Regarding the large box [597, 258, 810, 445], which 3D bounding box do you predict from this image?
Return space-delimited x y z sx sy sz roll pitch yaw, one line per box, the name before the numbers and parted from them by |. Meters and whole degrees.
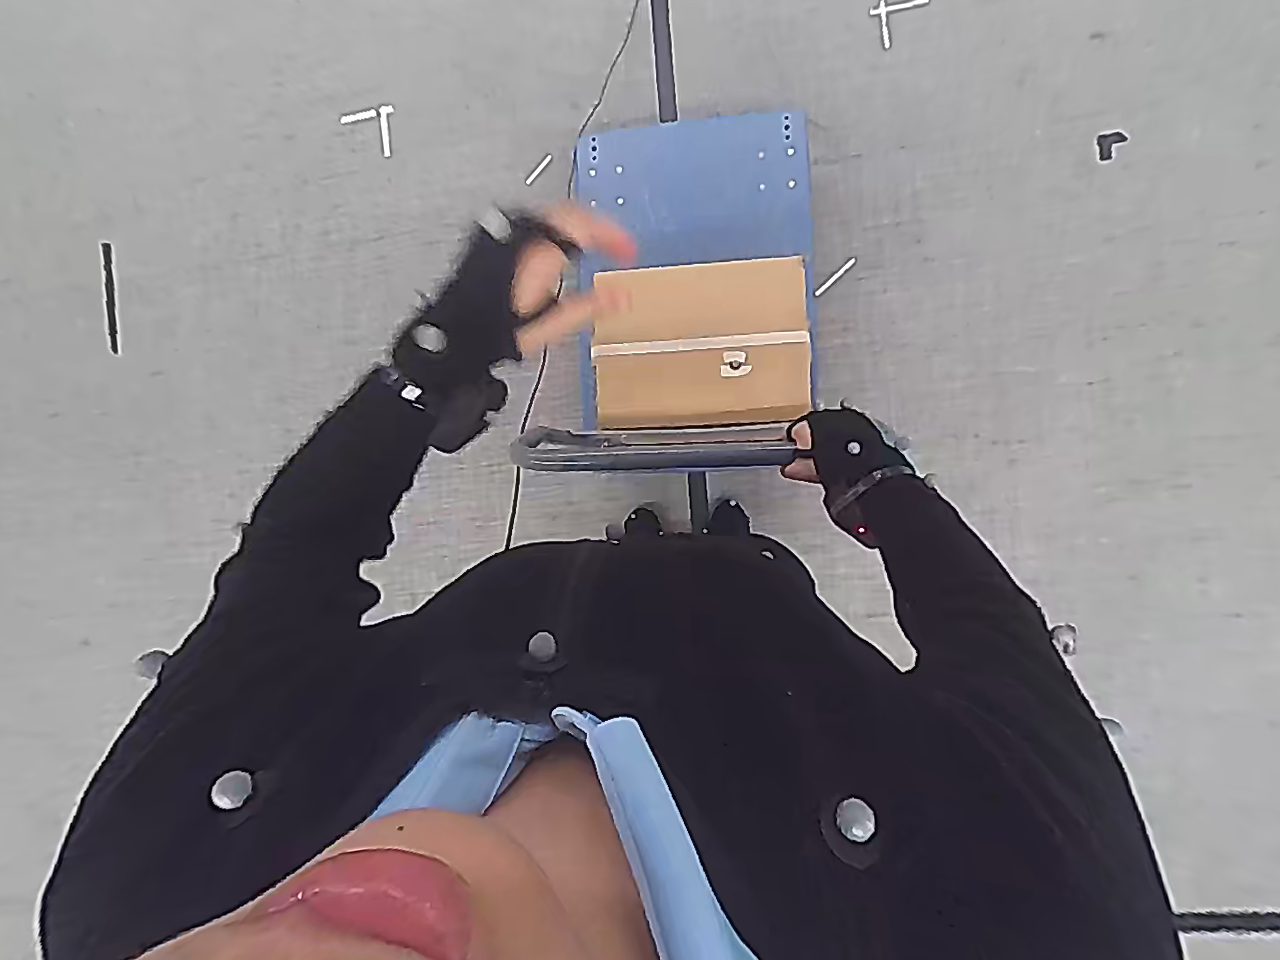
large box | 0.134 -0.256 1.195 0.408 0.320 0.320 -2 88 6
